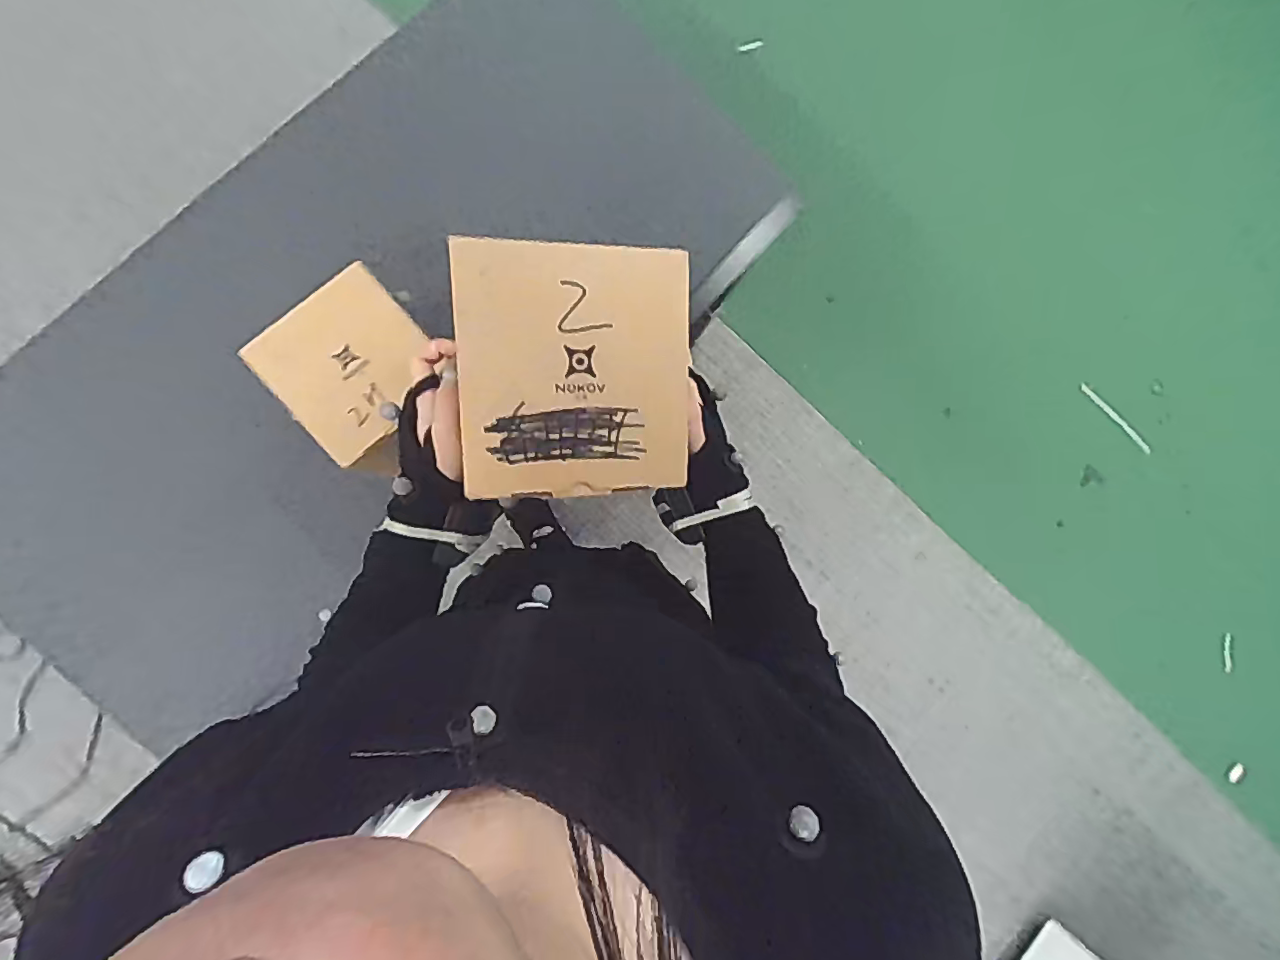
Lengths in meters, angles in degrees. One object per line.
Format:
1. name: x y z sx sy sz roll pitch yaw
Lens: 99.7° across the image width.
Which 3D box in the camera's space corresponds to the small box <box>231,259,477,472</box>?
1. small box: -0.332 -0.125 0.668 0.168 0.176 0.179 -42 91 -6
